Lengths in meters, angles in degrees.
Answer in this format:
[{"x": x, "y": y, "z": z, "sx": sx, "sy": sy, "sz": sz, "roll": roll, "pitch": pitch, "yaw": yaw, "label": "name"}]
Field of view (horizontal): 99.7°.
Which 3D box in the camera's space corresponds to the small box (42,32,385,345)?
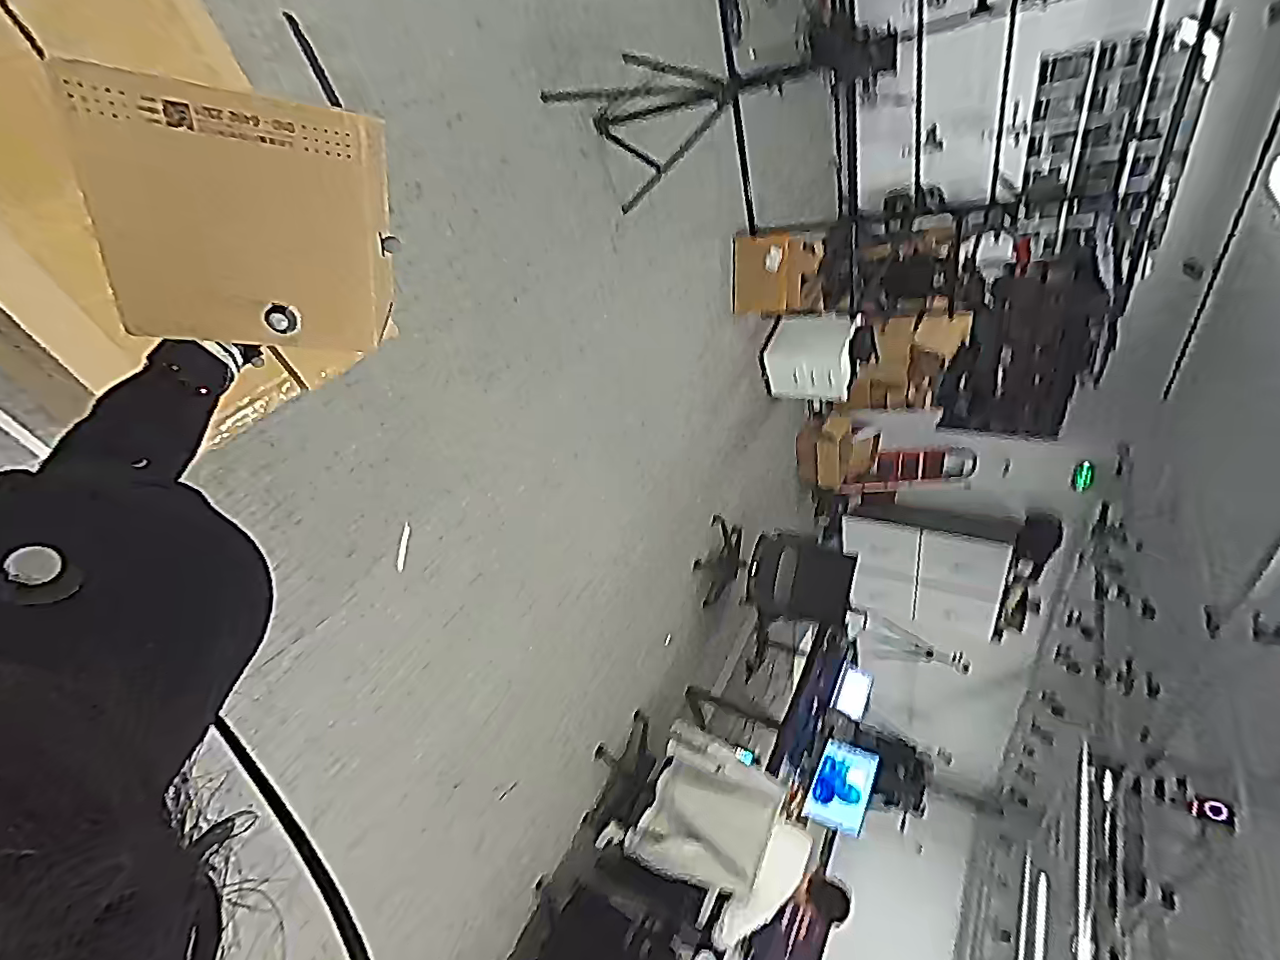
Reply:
[{"x": -0.301, "y": -0.224, "z": 0.431, "sx": 0.168, "sy": 0.179, "sz": 0.176, "roll": 0, "pitch": 123, "yaw": -20, "label": "small box"}]
